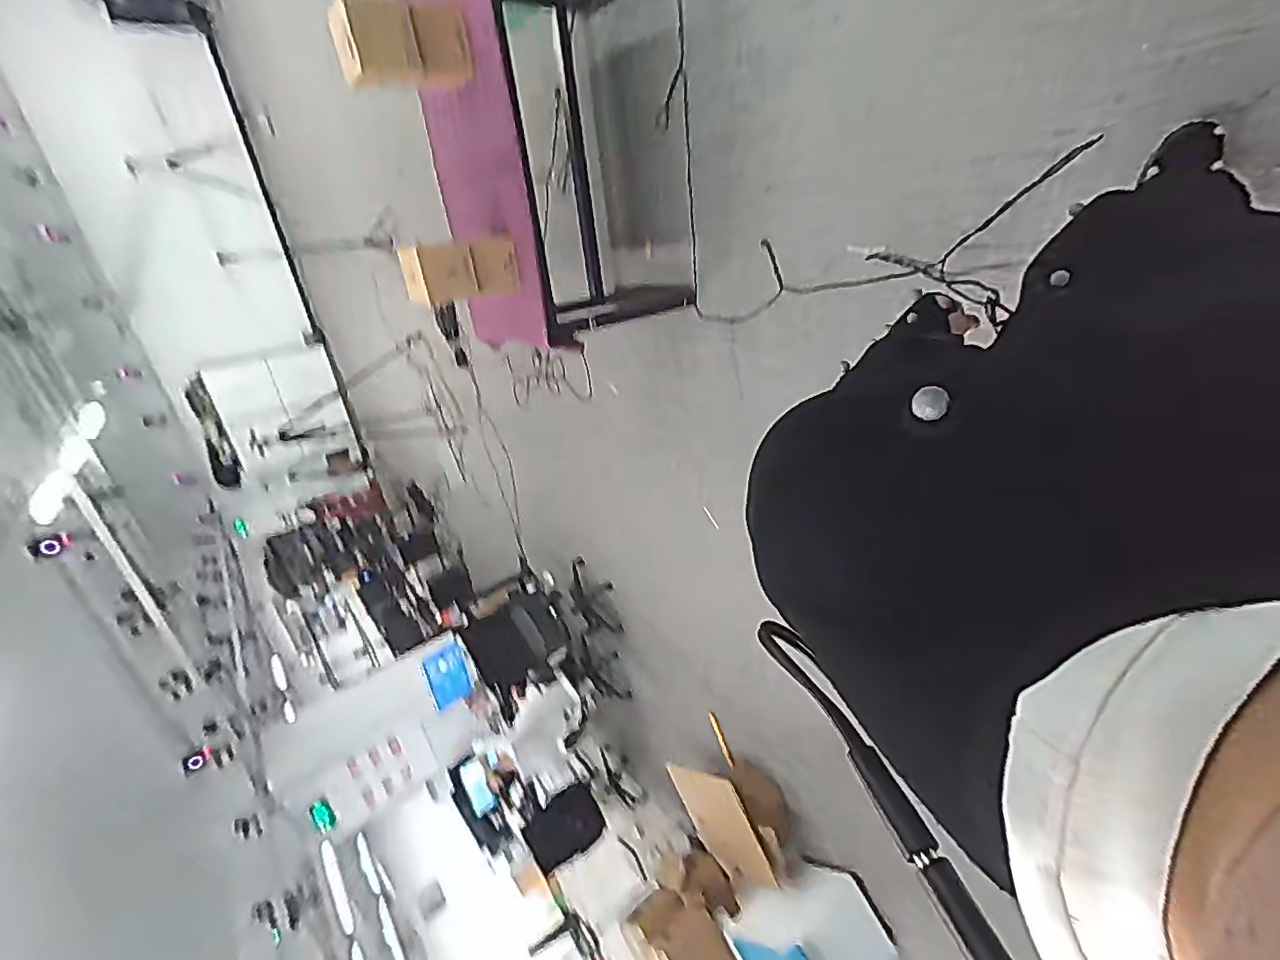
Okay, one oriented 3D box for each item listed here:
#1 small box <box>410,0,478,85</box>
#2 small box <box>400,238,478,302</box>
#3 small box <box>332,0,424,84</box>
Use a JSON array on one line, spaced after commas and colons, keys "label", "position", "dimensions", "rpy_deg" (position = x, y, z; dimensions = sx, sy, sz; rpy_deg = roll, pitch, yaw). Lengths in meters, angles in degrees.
[{"label": "small box", "position": [-0.599, -1.275, 1.586], "dimensions": [0.179, 0.176, 0.168], "rpy_deg": [27, 132, 46]}, {"label": "small box", "position": [-0.629, -0.667, 1.714], "dimensions": [0.179, 0.176, 0.168], "rpy_deg": [23, 128, 46]}, {"label": "small box", "position": [-0.714, -1.211, 1.487], "dimensions": [0.179, 0.176, 0.168], "rpy_deg": [26, 132, 48]}]
